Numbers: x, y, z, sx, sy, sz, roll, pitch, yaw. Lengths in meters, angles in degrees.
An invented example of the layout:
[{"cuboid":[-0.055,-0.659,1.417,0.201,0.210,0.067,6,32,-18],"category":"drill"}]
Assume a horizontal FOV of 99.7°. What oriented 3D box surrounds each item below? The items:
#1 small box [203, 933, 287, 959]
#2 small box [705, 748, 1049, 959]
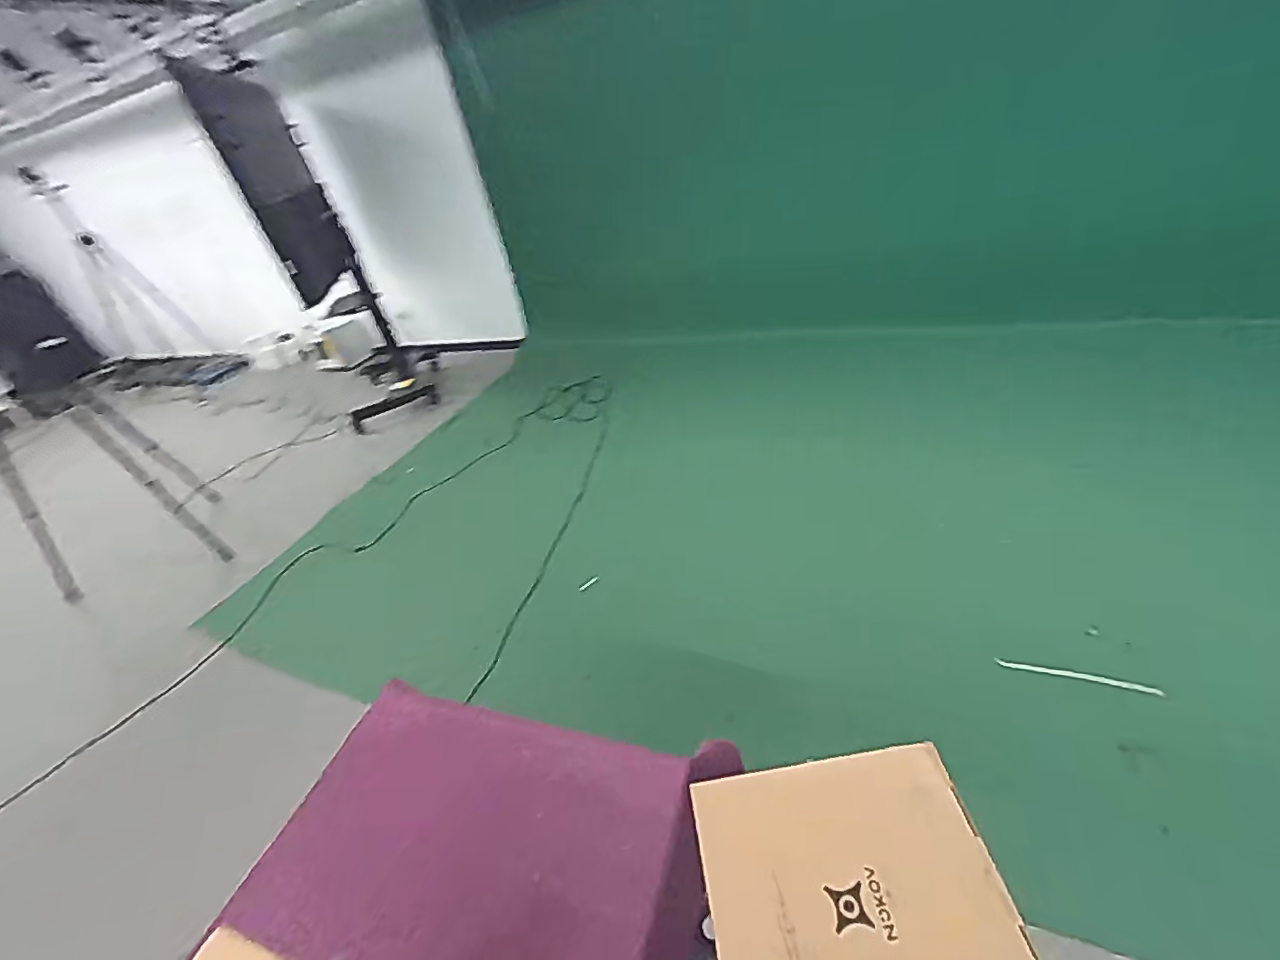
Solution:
[{"cuboid":[-0.277,0.493,0.407,0.179,0.176,0.168,2,38,22],"category":"small box"},{"cuboid":[0.151,0.313,0.379,0.179,0.176,0.168,-12,42,4],"category":"small box"}]
